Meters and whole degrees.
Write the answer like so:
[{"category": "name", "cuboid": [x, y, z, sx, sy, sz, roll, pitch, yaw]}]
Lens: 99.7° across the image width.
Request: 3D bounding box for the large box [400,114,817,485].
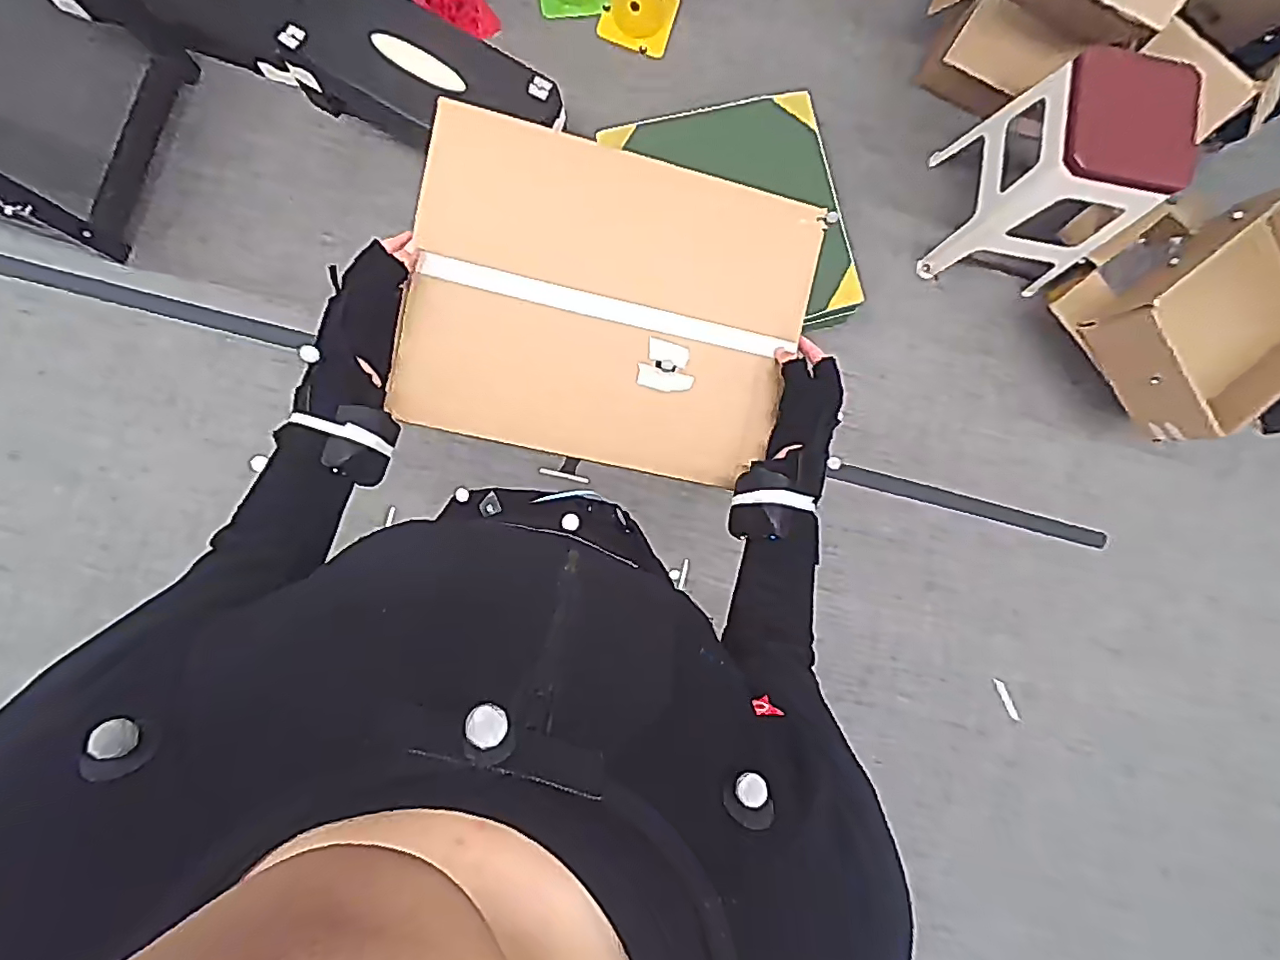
[{"category": "large box", "cuboid": [-0.047, -0.192, 0.718, 0.408, 0.320, 0.320, 12, 94, -9]}]
